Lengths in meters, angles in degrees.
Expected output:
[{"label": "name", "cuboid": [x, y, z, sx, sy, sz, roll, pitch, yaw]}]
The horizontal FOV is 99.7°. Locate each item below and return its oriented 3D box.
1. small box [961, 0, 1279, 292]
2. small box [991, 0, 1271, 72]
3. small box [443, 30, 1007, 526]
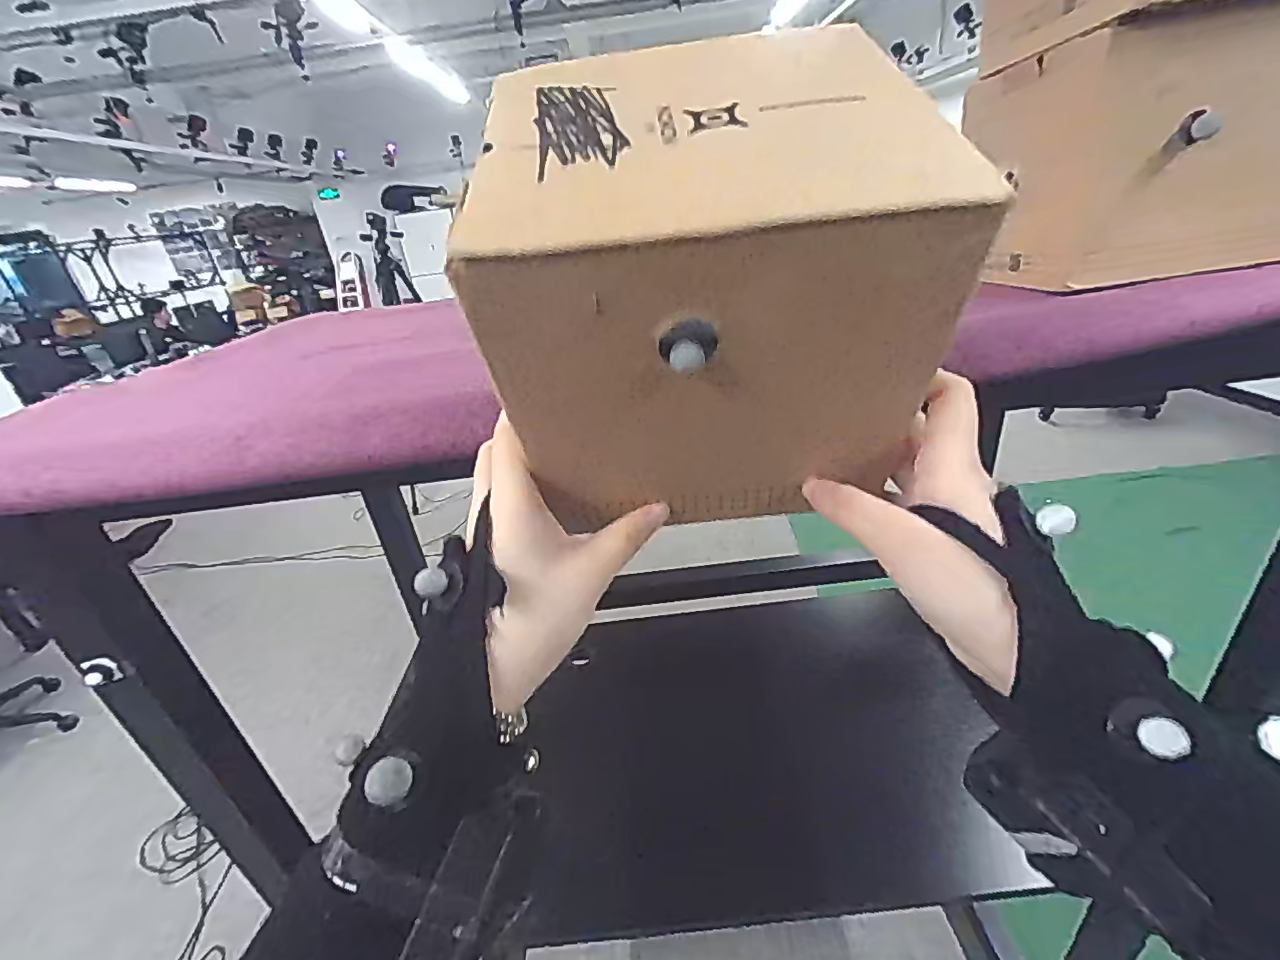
[{"label": "small box", "cuboid": [0.391, -0.258, 0.444, 0.179, 0.176, 0.168, -8, 25, 3]}, {"label": "small box", "cuboid": [0.369, -0.399, 0.364, 0.179, 0.176, 0.168, -8, 25, 2]}, {"label": "small box", "cuboid": [0.028, -0.088, 0.274, 0.179, 0.176, 0.168, -5, 55, 2]}]
